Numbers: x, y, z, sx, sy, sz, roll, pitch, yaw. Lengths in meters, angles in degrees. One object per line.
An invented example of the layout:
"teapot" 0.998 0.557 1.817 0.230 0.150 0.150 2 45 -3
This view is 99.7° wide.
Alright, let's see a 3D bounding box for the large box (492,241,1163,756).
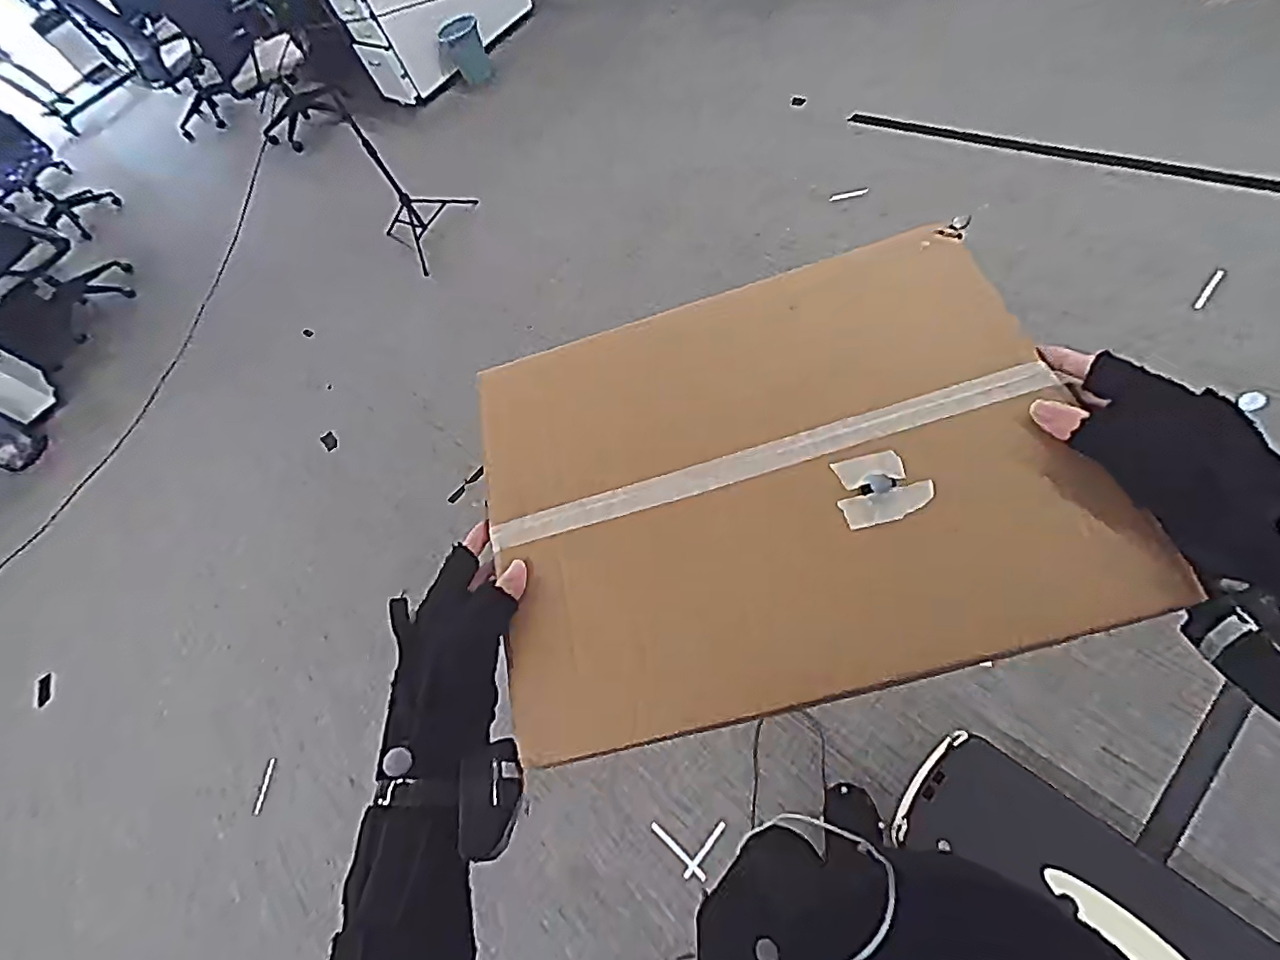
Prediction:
"large box" 0.118 0.049 0.533 0.408 0.320 0.320 -17 65 5
